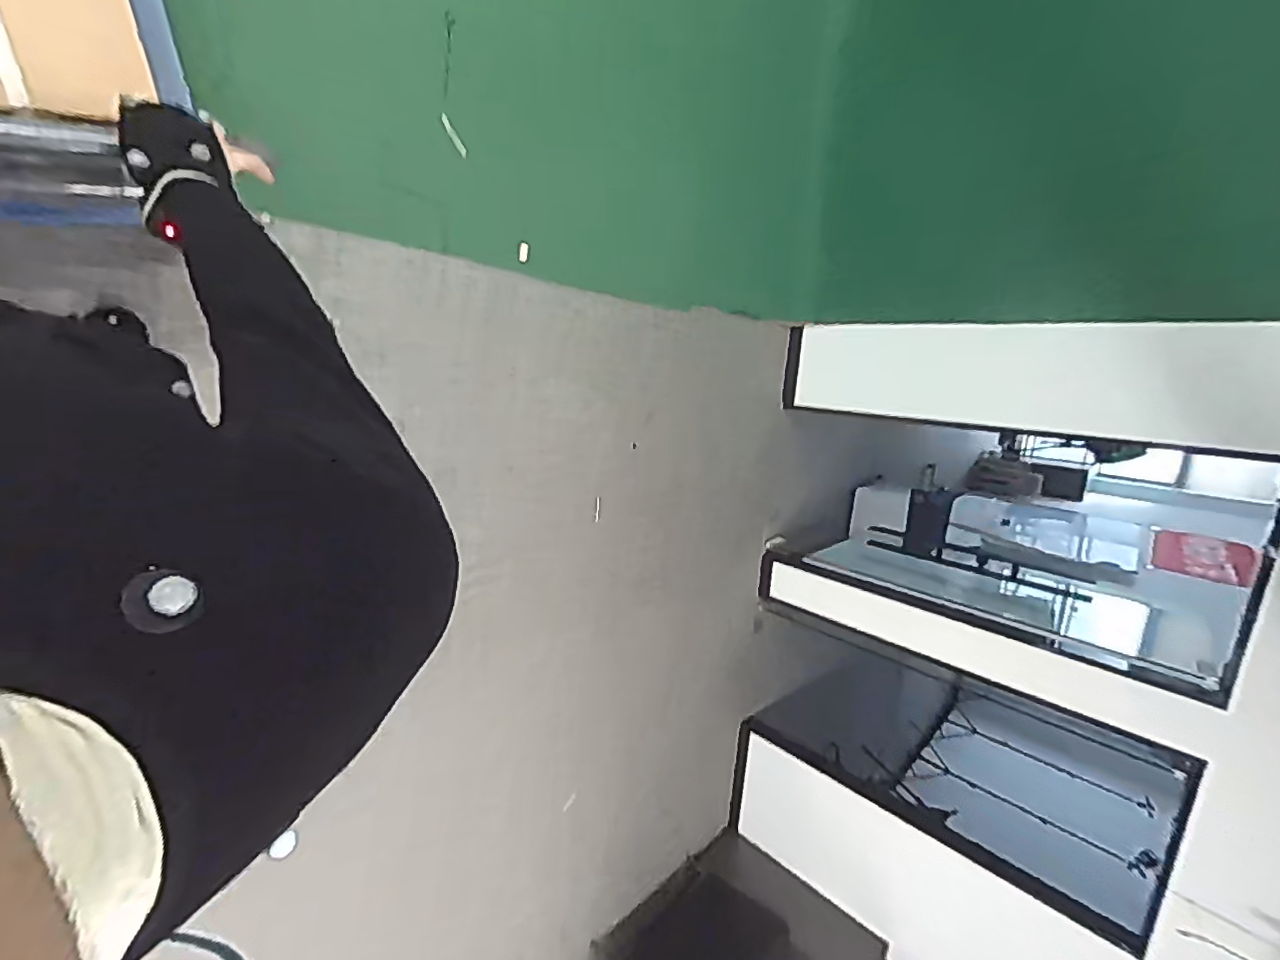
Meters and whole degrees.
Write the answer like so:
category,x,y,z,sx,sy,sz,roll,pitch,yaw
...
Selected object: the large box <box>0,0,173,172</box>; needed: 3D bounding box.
category,x,y,z,sx,sy,sz,roll,pitch,yaw
large box,-0.941,-0.699,0.767,0.320,0.320,0.408,-22,115,-41
